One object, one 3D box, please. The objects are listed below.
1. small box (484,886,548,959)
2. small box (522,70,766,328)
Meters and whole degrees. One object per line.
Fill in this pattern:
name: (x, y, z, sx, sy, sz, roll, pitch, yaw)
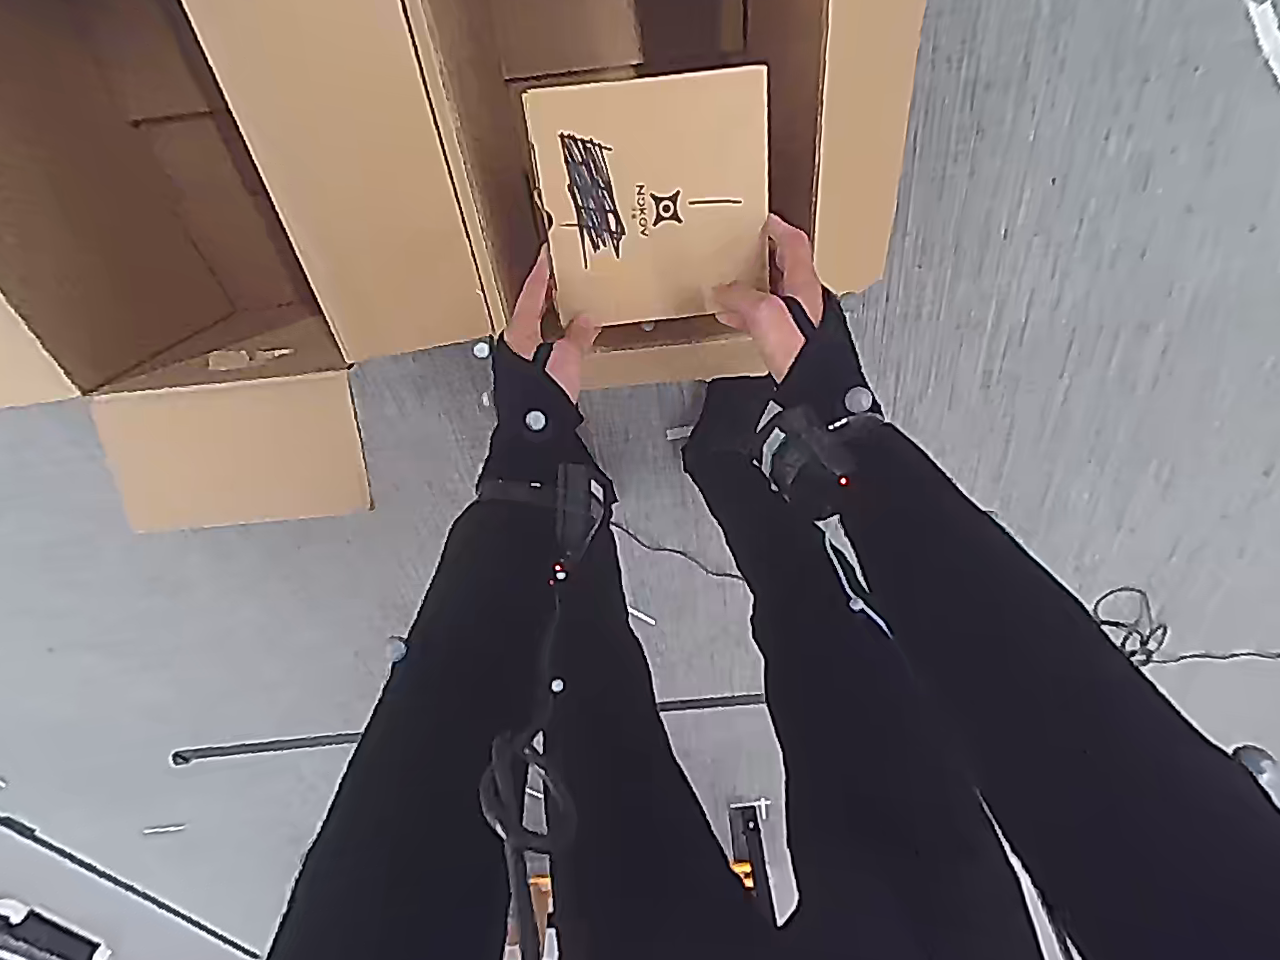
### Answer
small box: (-0.417, 1.515, 1.849, 0.168, 0.176, 0.179, -6, 126, 3)
small box: (0.006, -0.236, 0.484, 0.179, 0.176, 0.168, -7, 113, -1)
